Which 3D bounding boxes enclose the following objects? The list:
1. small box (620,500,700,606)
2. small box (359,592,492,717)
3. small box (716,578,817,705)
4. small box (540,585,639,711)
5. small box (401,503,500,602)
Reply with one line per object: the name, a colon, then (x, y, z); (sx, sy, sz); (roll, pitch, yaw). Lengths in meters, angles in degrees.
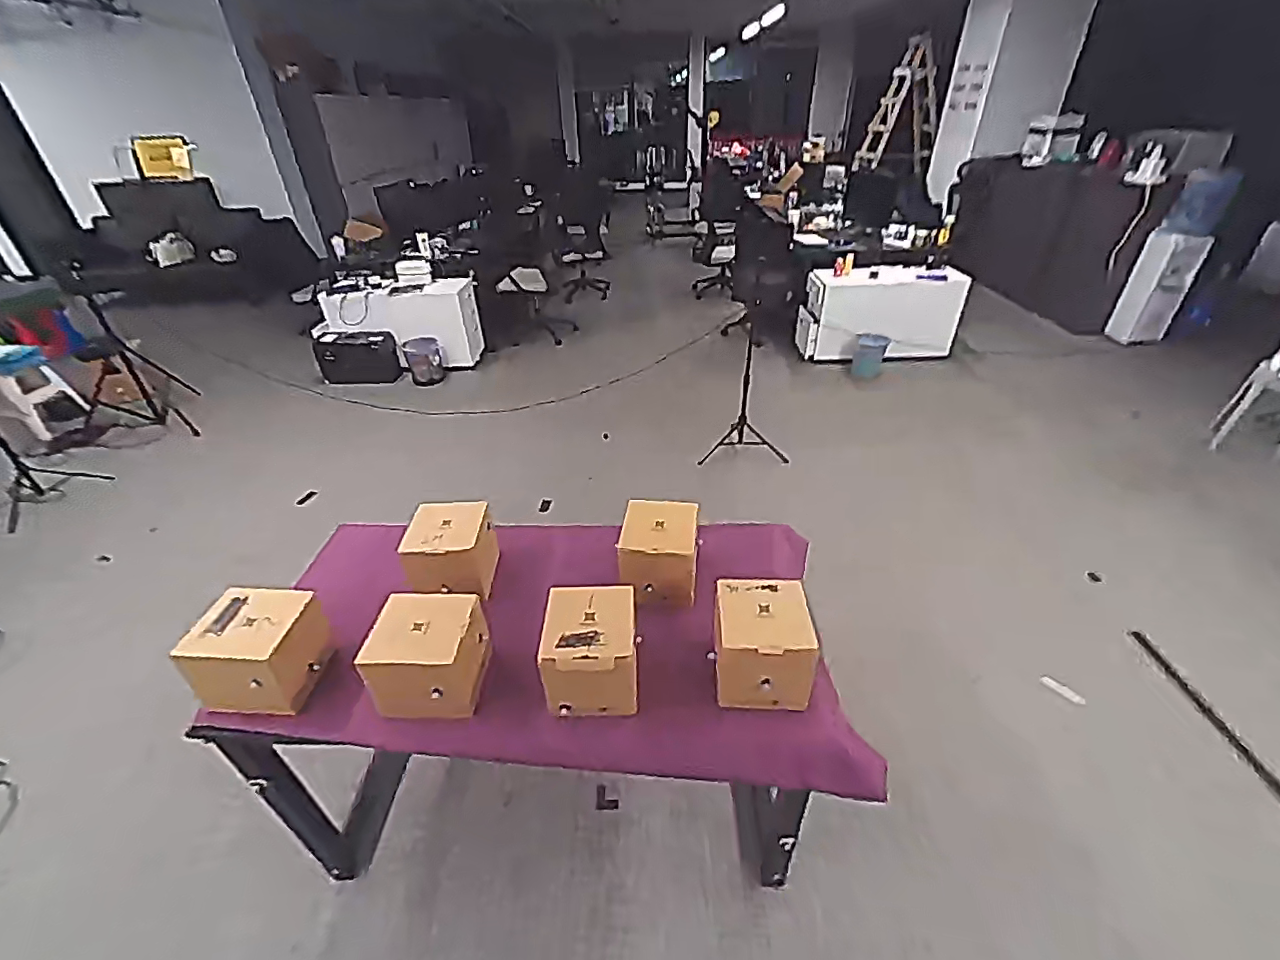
small box: (0.050, 0.168, 1.266); (0.168, 0.176, 0.179); (3, 36, 8)
small box: (-0.398, 0.336, 1.043); (0.179, 0.176, 0.168); (0, 34, 2)
small box: (0.234, 0.310, 1.039); (0.168, 0.176, 0.179); (0, 33, 5)
small box: (-0.088, 0.324, 1.041); (0.168, 0.176, 0.179); (-1, 34, 1)
small box: (-0.438, 0.173, 1.284); (0.168, 0.176, 0.179); (-3, 35, 0)
